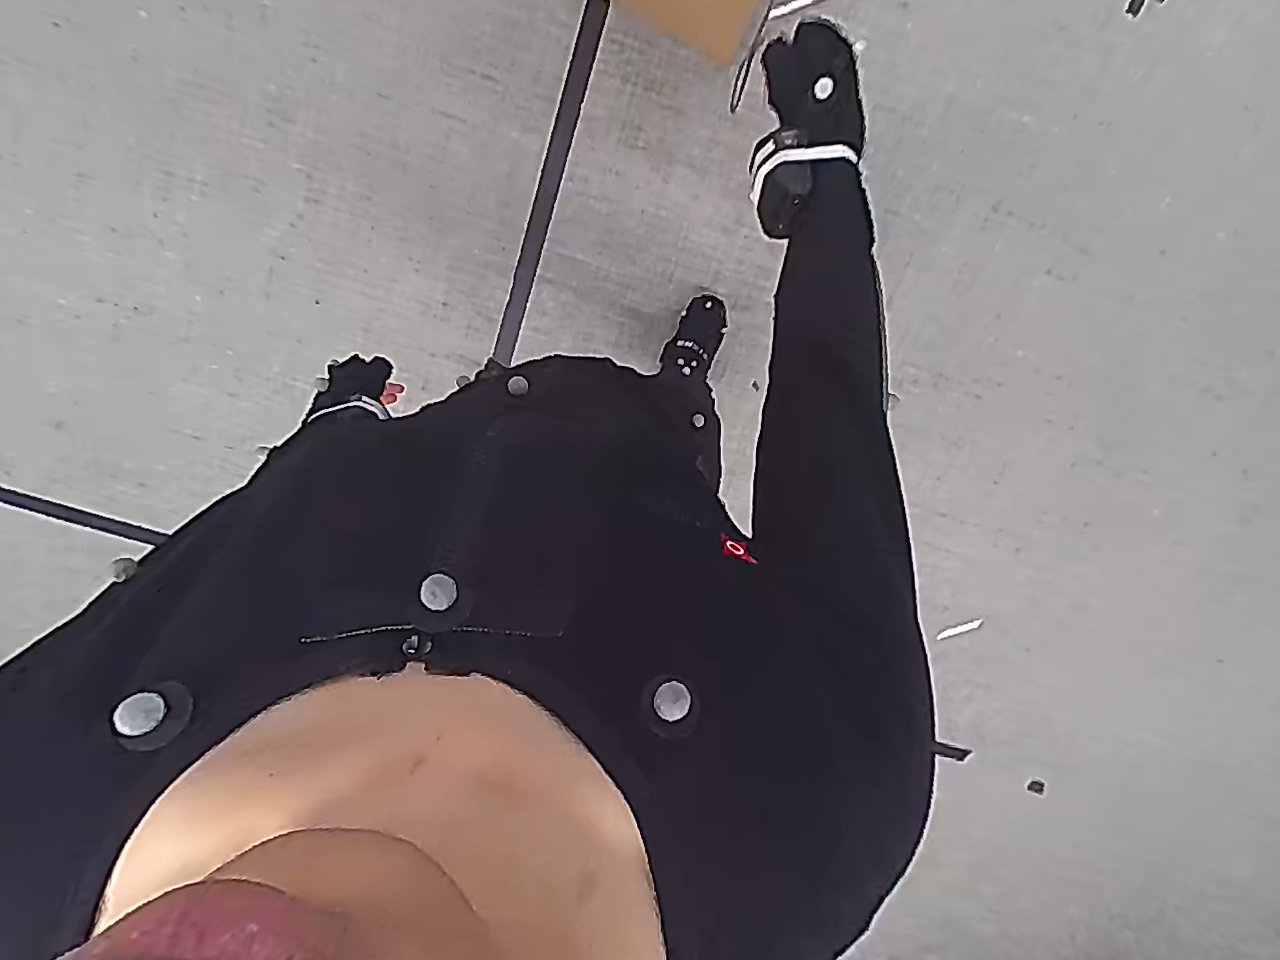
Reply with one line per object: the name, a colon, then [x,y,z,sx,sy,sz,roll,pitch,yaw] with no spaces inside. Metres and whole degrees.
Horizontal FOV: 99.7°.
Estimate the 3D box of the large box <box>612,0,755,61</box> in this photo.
large box: [0.081,-1.107,1.014,0.408,0.320,0.320,24,105,-8]
